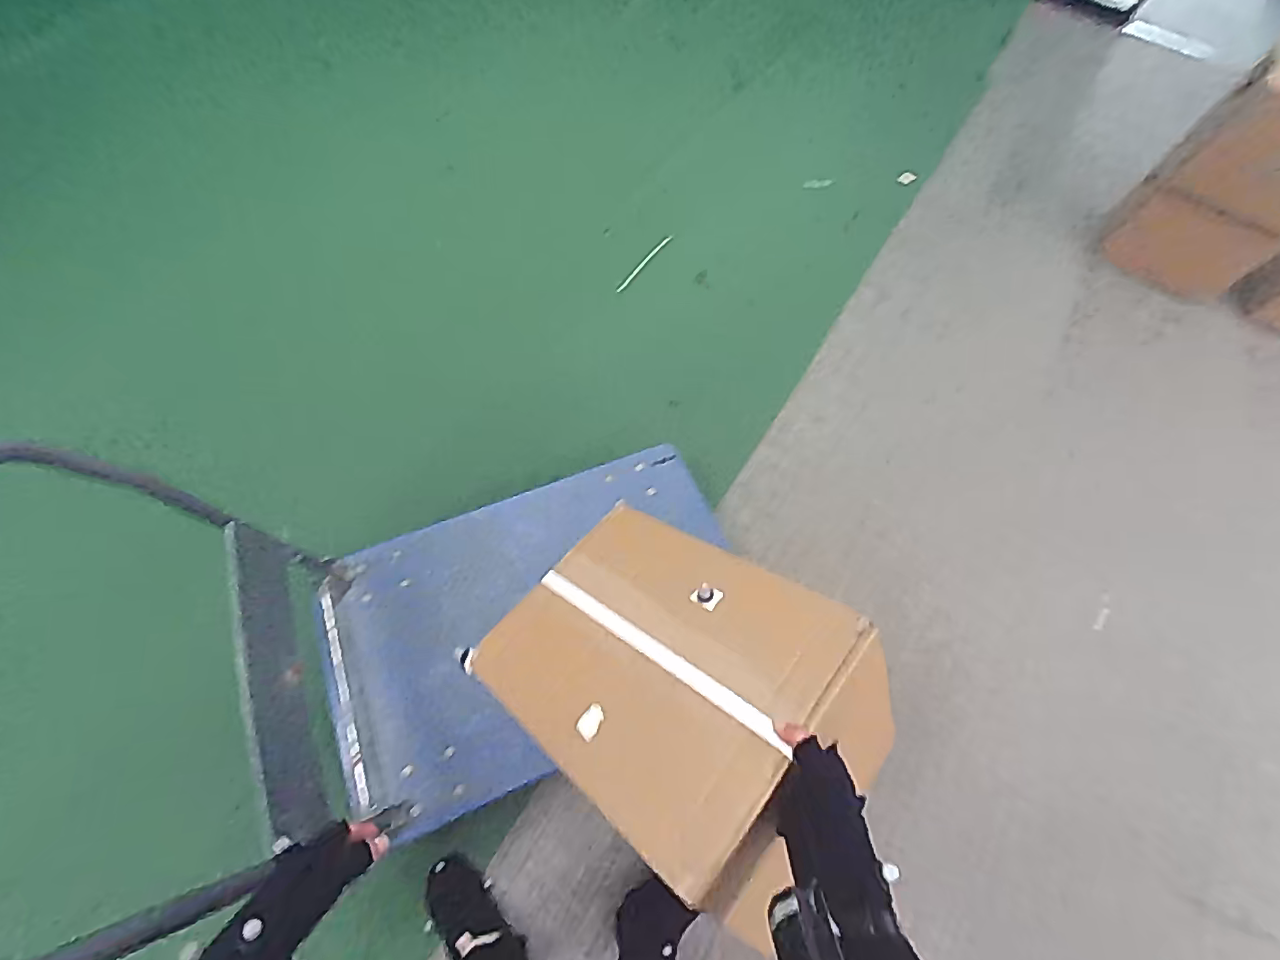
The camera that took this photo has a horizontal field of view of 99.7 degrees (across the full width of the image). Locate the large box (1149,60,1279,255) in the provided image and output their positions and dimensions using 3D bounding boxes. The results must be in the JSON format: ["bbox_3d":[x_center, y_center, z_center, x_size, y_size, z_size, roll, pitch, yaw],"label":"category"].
[{"bbox_3d":[1.913,-0.968,1.641,0.408,0.320,0.320,33,68,12],"label":"large box"}]
